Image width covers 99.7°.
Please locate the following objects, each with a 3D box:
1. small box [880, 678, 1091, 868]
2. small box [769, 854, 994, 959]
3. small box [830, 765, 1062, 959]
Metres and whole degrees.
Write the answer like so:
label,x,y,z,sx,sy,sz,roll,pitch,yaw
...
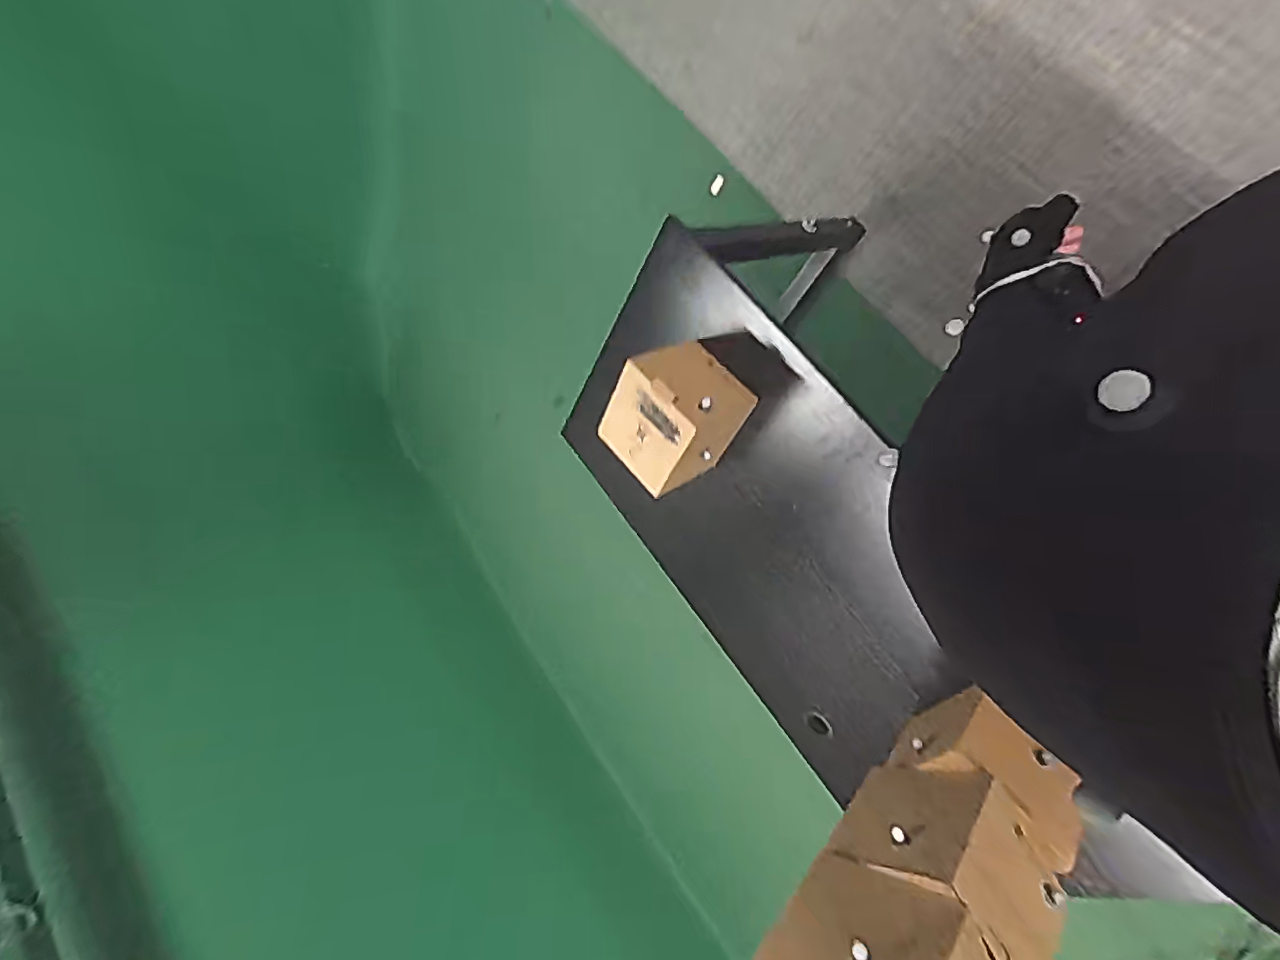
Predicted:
label,x,y,z,sx,sy,sz,roll,pitch,yaw
small box,0.491,0.421,0.770,0.168,0.176,0.179,46,136,21
small box,0.264,0.540,0.564,0.179,0.176,0.168,-19,95,49
small box,0.379,0.479,0.665,0.179,0.176,0.168,-35,82,50
